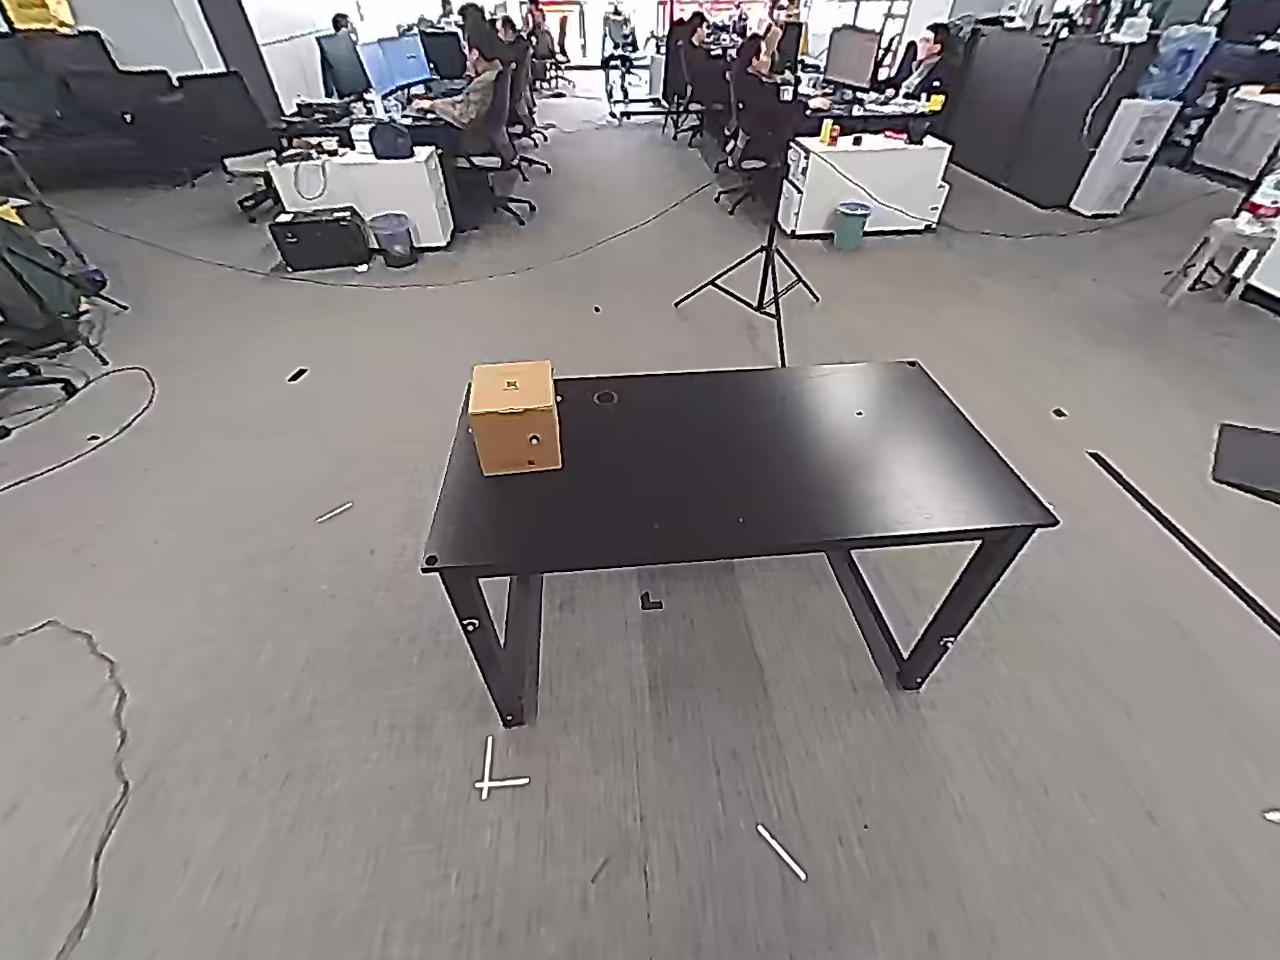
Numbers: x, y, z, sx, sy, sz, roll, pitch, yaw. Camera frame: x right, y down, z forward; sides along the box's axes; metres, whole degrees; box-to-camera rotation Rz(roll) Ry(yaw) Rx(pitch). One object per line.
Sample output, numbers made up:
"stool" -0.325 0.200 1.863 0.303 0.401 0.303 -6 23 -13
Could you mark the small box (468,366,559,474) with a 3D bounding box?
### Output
"small box" -0.267 -0.125 1.169 0.168 0.176 0.179 -6 42 -7
